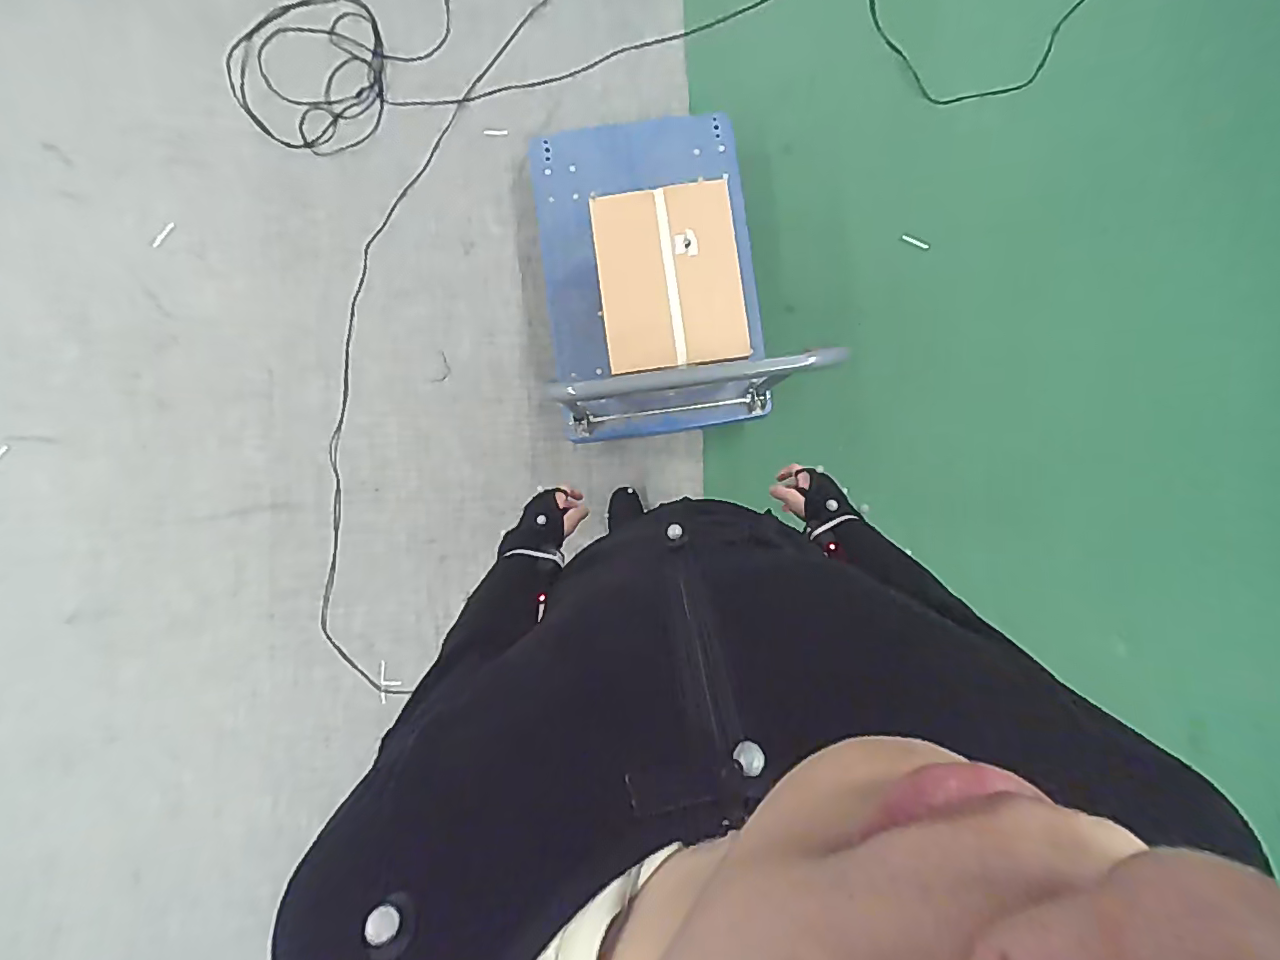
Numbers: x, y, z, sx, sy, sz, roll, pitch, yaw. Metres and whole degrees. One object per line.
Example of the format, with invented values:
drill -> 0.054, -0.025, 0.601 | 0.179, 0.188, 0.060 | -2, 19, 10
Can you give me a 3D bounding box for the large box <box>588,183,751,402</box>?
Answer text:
large box -> 0.068, -0.438, 1.342 | 0.320, 0.320, 0.408 | -8, 86, 0
